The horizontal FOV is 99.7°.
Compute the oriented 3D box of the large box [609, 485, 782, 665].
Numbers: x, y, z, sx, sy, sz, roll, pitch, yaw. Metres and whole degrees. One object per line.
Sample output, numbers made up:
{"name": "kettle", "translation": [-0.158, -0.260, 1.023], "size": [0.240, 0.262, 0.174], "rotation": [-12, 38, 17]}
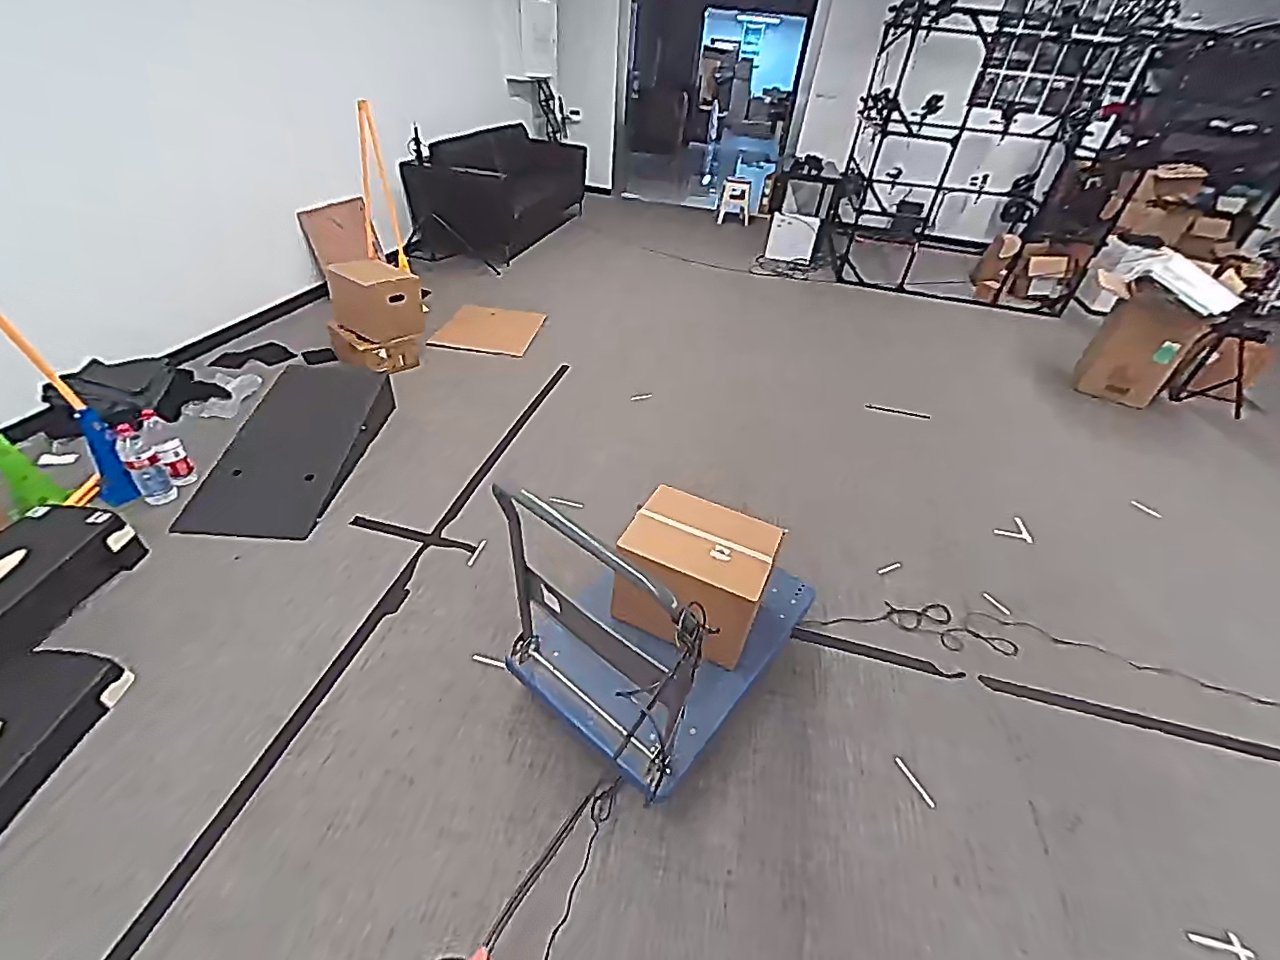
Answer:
{"name": "large box", "translation": [0.158, 0.275, 1.616], "size": [0.408, 0.320, 0.320], "rotation": [21, 41, 16]}
